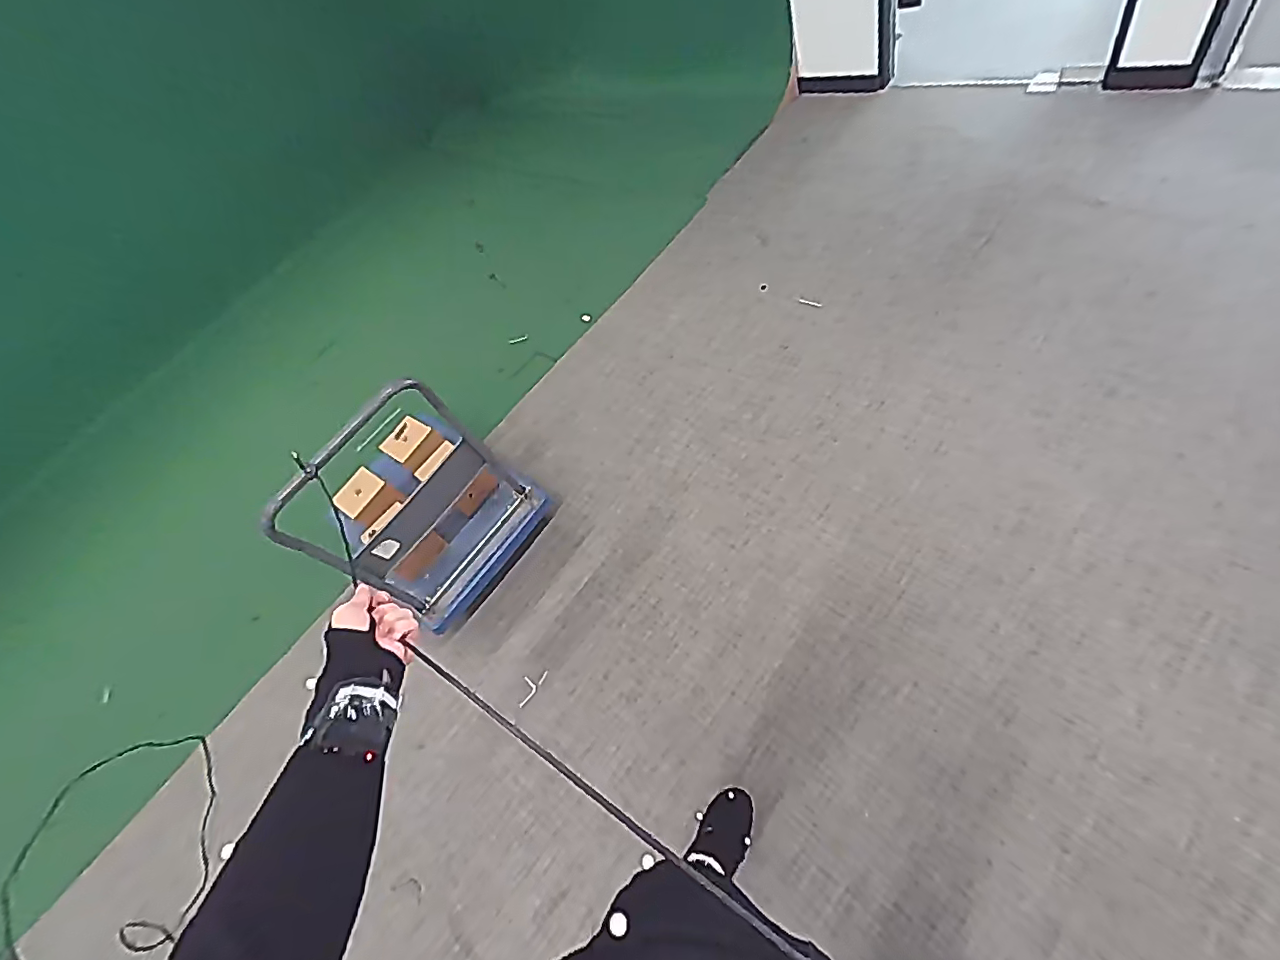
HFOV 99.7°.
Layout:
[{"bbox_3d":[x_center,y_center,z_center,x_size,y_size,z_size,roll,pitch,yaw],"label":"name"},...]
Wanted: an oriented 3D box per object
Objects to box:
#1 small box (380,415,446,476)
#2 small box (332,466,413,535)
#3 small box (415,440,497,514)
[{"bbox_3d":[-0.842,-0.116,2.066,0.179,0.176,0.168,25,72,32],"label":"small box"},{"bbox_3d":[-0.982,0.081,1.998,0.179,0.176,0.168,25,71,33],"label":"small box"},{"bbox_3d":[-0.648,-0.007,1.914,0.179,0.176,0.168,31,74,34],"label":"small box"}]
